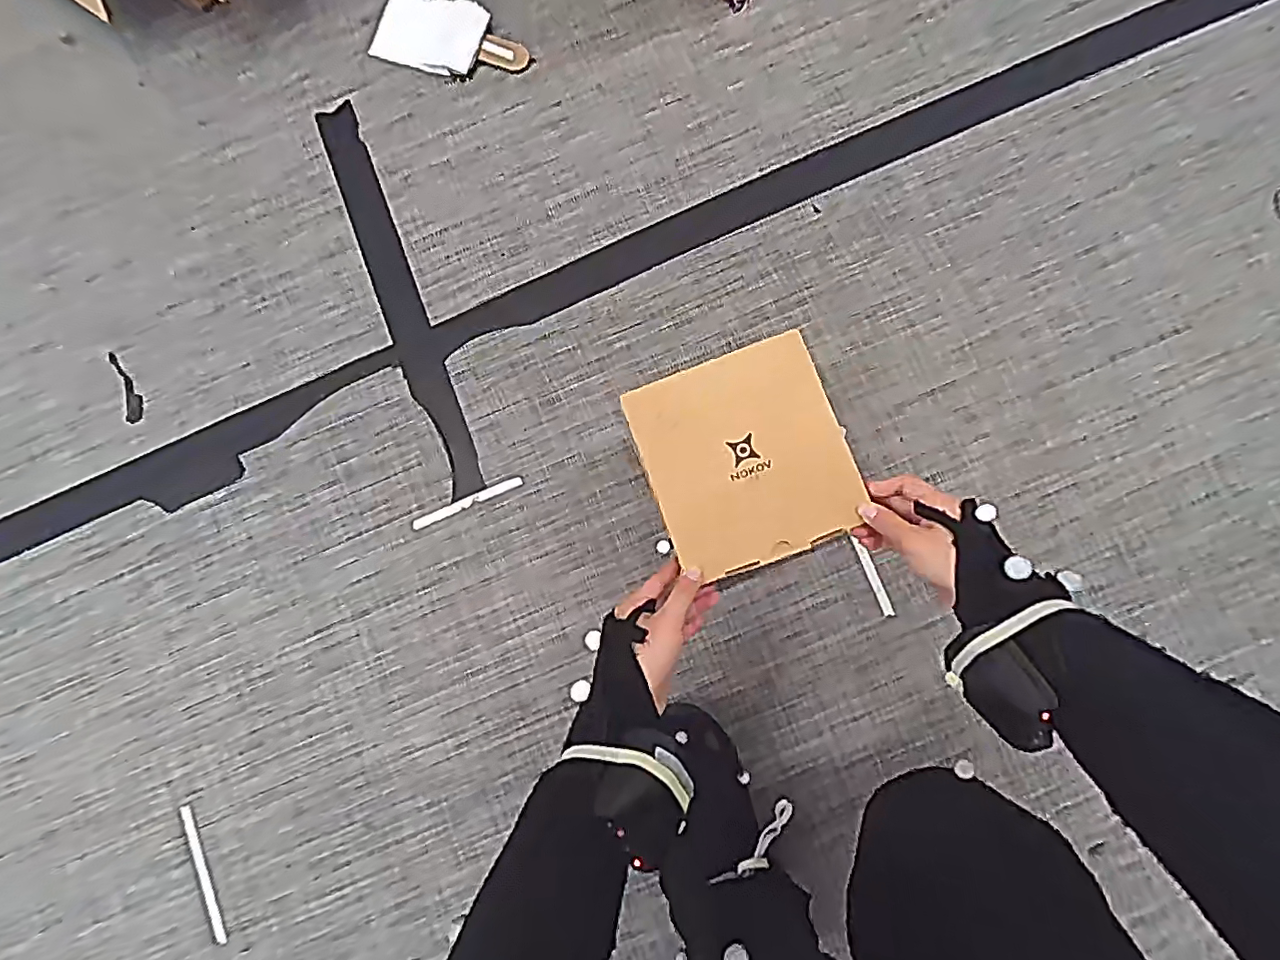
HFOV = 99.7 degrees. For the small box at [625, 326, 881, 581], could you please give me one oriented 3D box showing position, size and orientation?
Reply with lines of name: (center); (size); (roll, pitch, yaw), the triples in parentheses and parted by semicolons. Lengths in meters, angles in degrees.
small box: (0.091, -0.015, 0.523); (0.168, 0.176, 0.179); (-21, 84, -1)
